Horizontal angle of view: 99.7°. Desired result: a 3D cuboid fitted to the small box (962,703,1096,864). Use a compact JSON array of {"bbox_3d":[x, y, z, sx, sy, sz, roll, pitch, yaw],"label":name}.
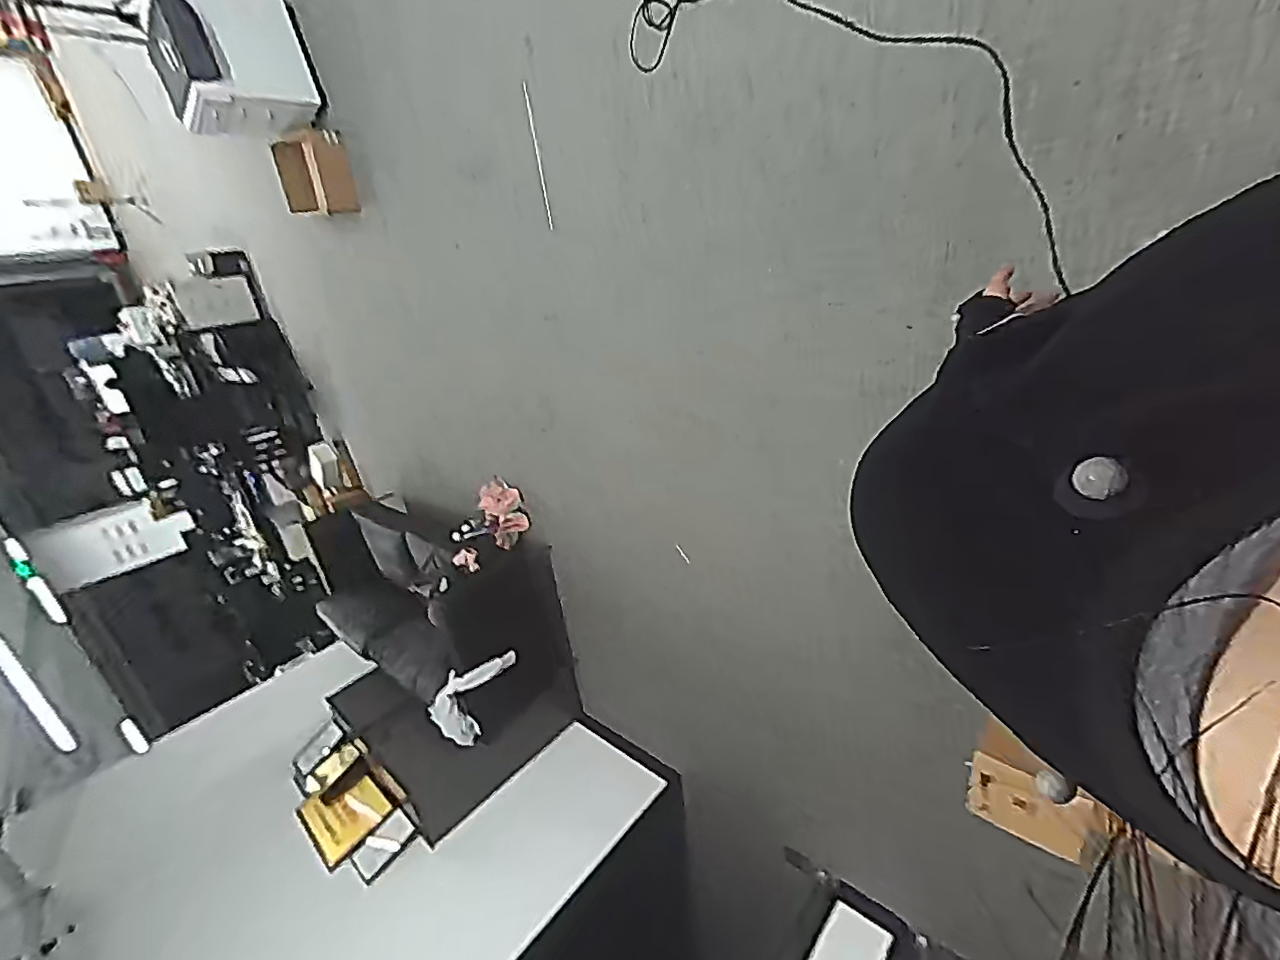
[{"bbox_3d":[0.743,0.565,1.033,0.179,0.176,0.168,13,119,41],"label":"small box"}]
